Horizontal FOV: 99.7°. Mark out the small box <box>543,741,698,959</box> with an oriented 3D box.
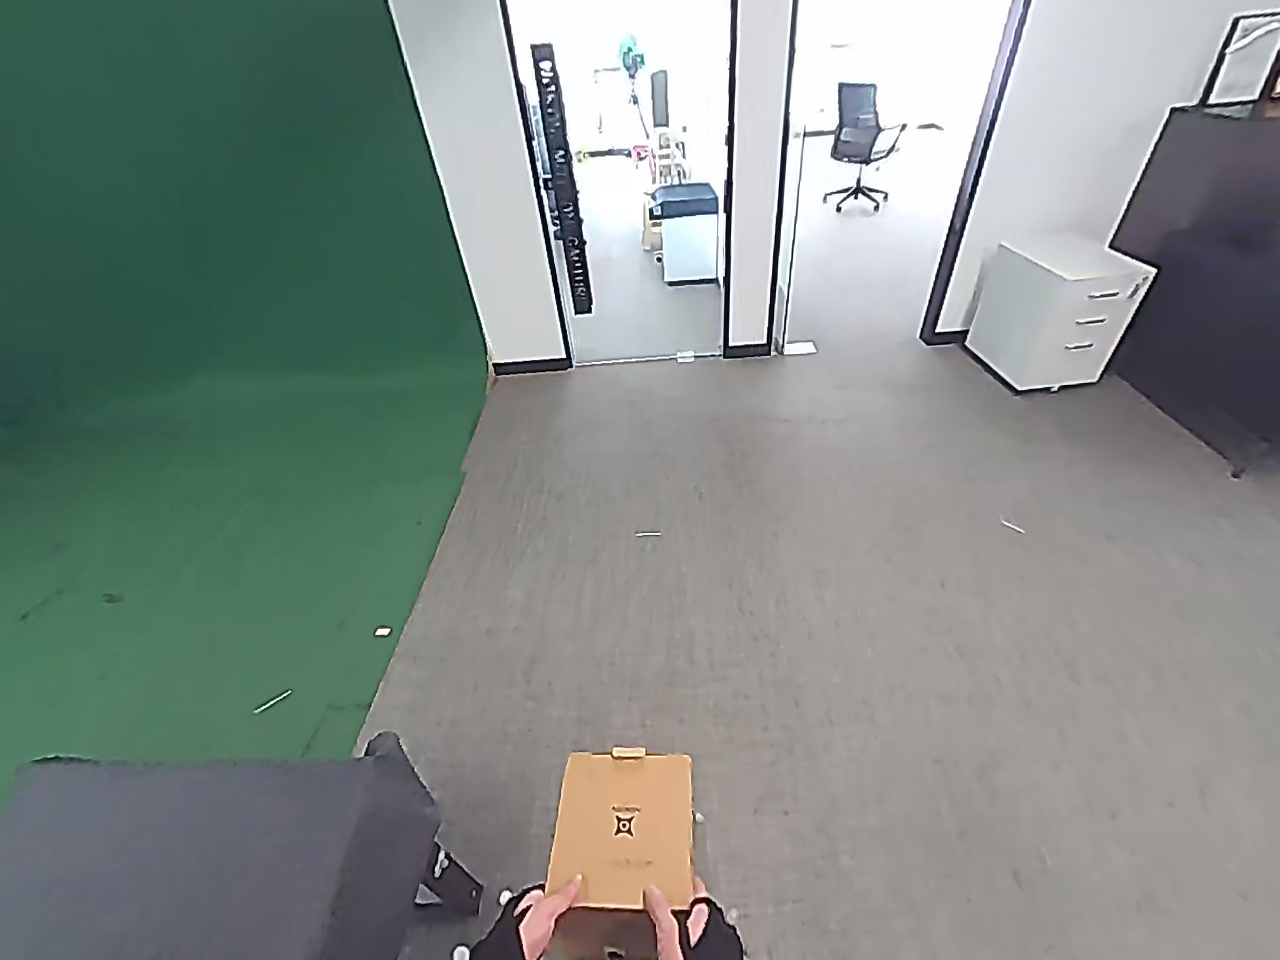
[{"bbox_3d":[-0.012,0.462,0.682,0.168,0.176,0.179,-1,32,7],"label":"small box"}]
